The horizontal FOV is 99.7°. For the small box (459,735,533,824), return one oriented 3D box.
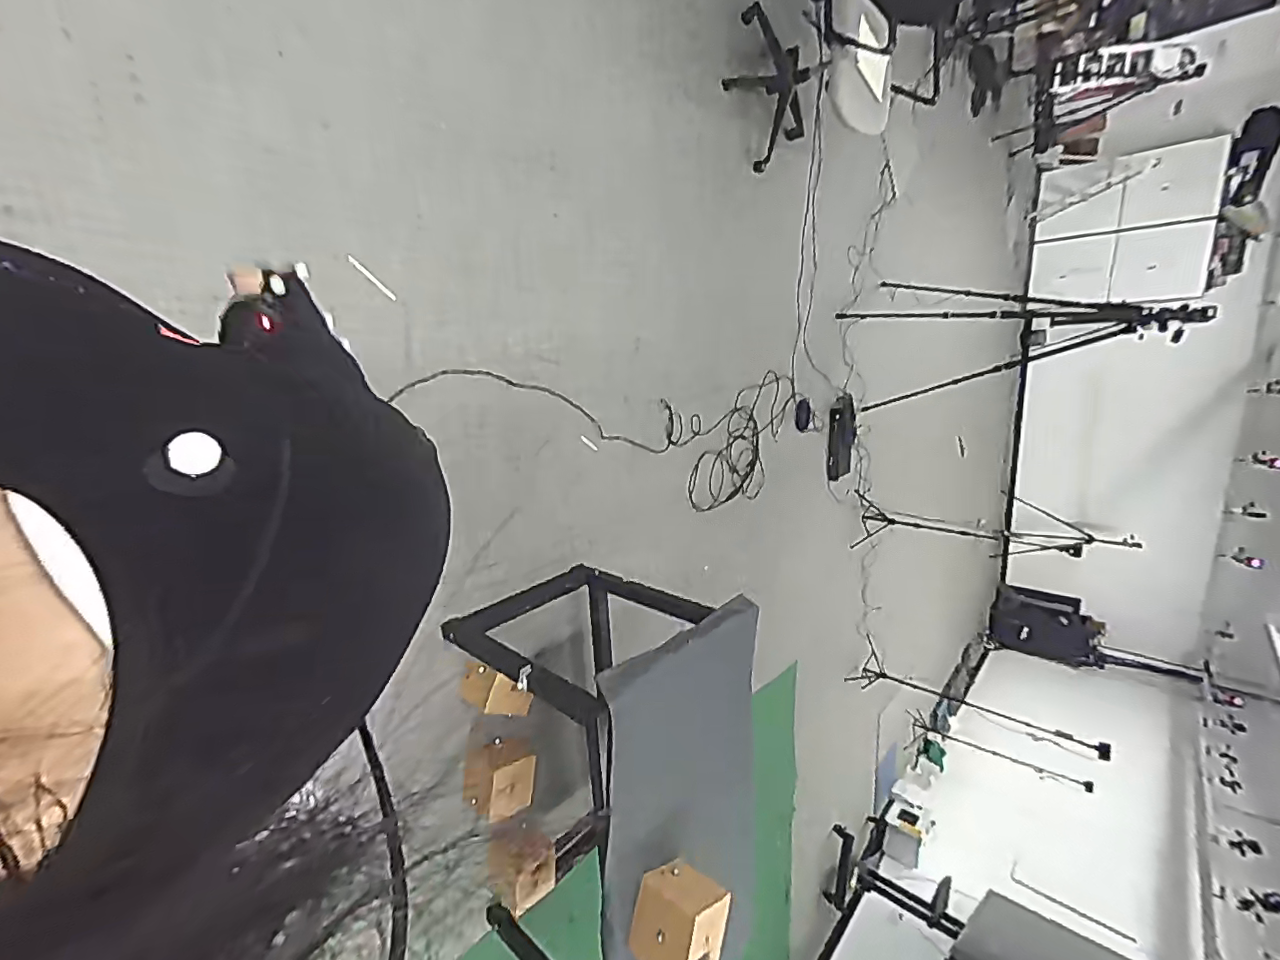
[{"bbox_3d":[-0.478,0.979,1.783,0.168,0.176,0.179,3,92,-49],"label":"small box"}]

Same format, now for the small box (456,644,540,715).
[{"bbox_3d":[-0.462,0.641,1.747,0.179,0.176,0.168,31,73,-46],"label":"small box"}]

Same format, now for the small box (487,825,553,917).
[{"bbox_3d":[-0.424,1.360,1.903,0.168,0.176,0.179,-9,104,-46],"label":"small box"}]
